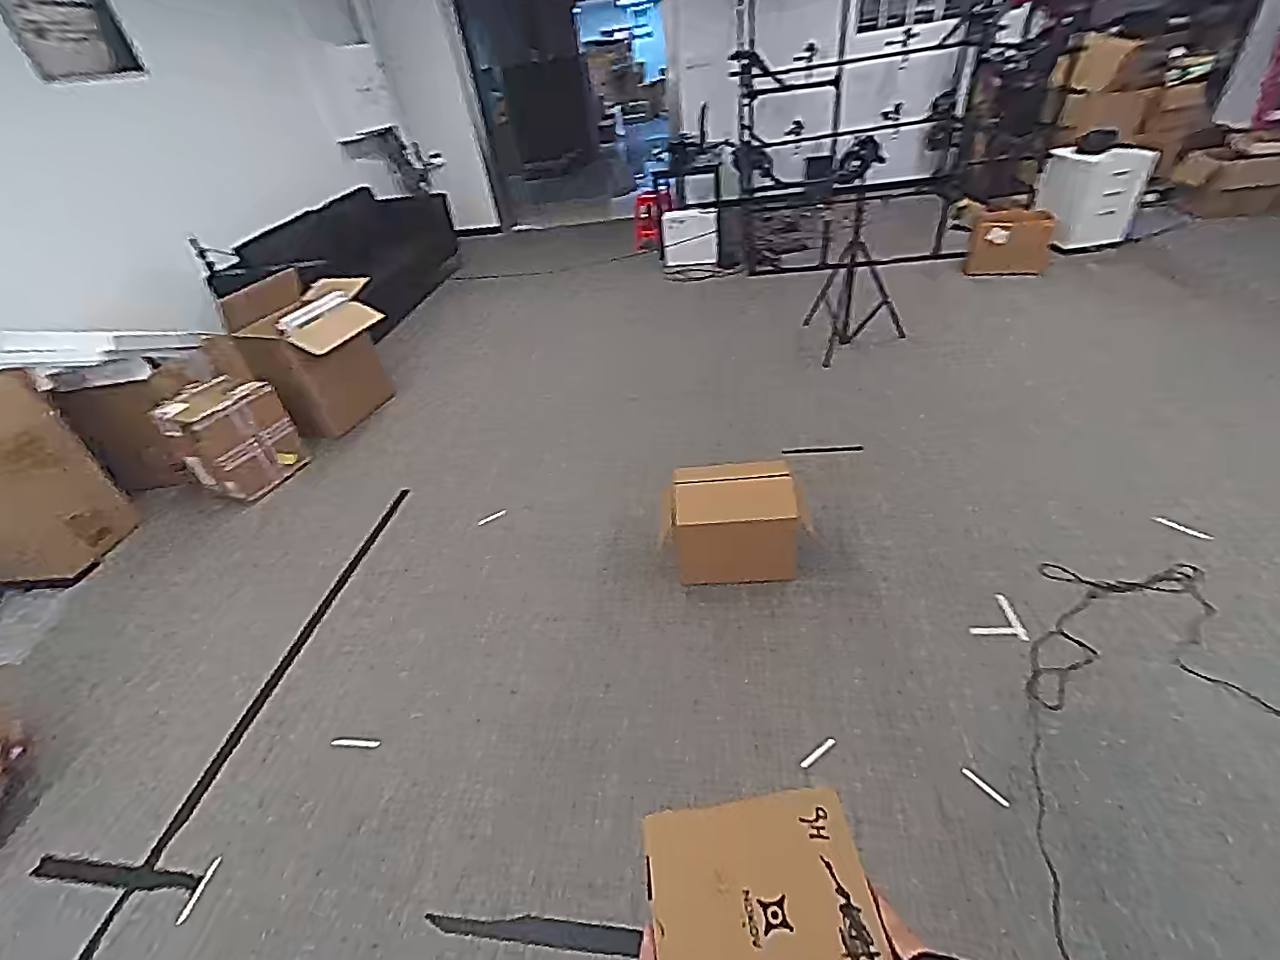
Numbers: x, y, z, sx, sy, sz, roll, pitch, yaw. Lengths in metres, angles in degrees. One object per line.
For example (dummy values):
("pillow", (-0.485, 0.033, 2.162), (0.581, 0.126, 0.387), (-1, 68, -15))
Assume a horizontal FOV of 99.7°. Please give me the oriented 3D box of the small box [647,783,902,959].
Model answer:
("small box", (0.108, 0.391, 0.468), (0.179, 0.176, 0.168), (-8, 42, 0))
